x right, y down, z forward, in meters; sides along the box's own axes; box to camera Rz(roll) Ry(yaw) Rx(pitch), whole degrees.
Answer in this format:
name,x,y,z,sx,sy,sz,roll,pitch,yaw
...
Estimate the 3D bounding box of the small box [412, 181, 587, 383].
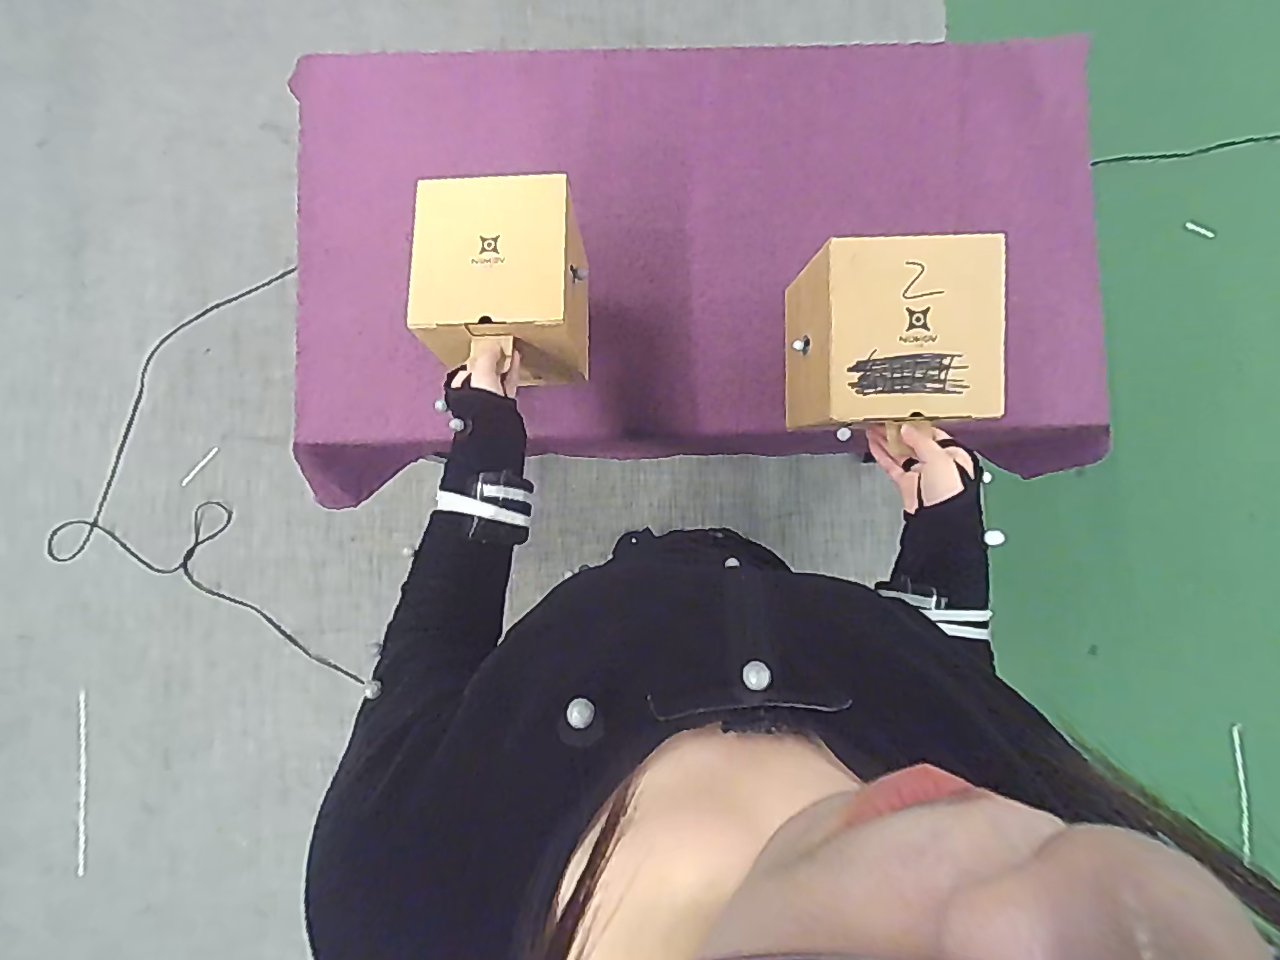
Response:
name,x,y,z,sx,sy,sz,roll,pitch,yaw
small box,-0.159,-0.233,0.667,0.168,0.176,0.179,-2,79,2
